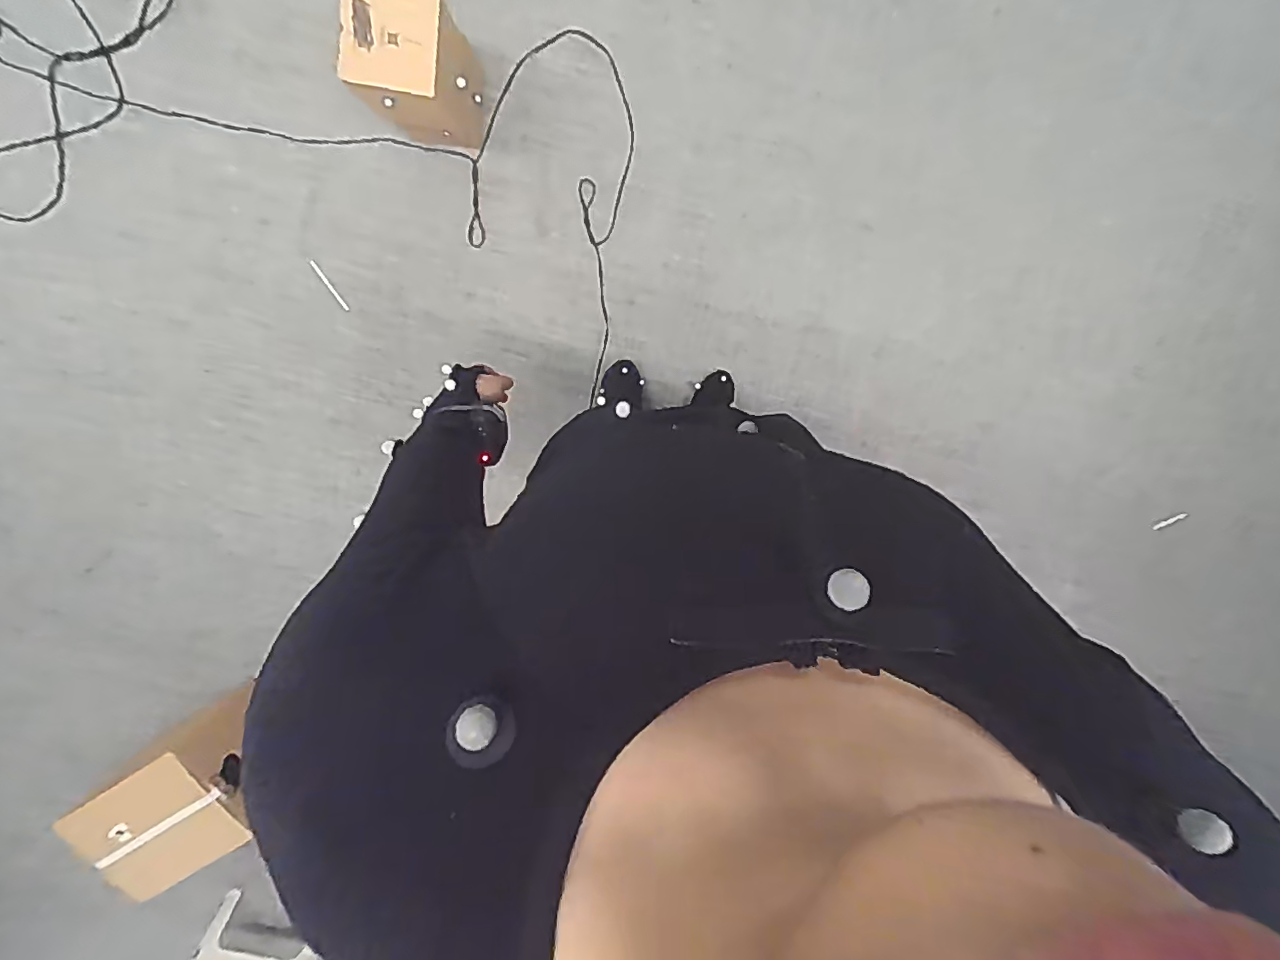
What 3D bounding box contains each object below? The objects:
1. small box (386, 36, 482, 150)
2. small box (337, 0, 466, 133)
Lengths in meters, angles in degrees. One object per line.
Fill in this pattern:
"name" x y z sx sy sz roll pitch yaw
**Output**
"small box" -0.457 -0.857 1.199 0.179 0.176 0.168 5 102 -2
"small box" -0.453 -0.802 1.044 0.179 0.176 0.168 8 103 -4
